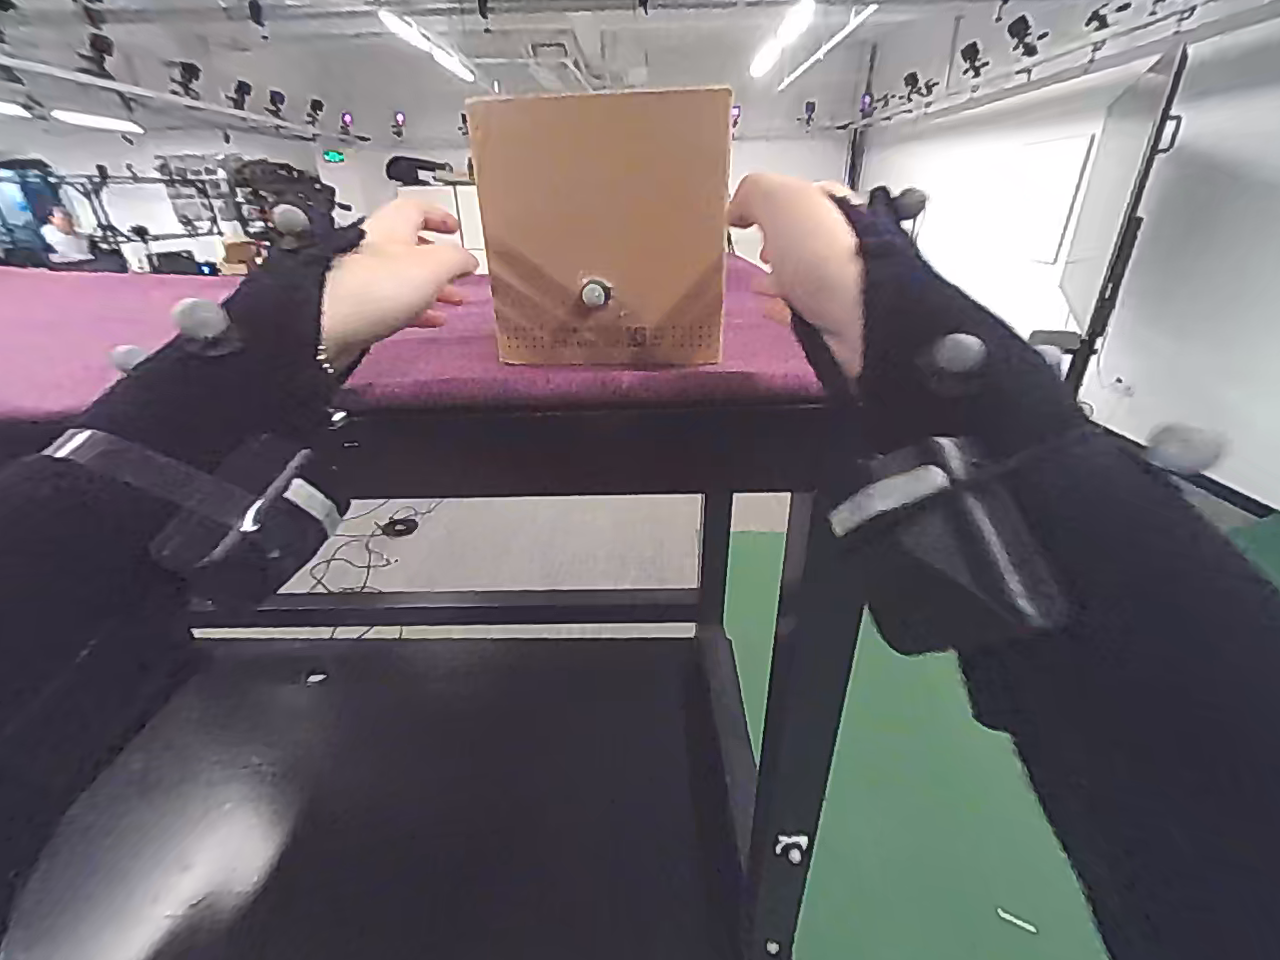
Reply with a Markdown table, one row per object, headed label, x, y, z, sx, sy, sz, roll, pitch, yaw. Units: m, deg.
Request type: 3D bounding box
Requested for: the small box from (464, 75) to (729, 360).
| label | x | y | z | sx | sy | sz | roll | pitch | yaw |
| --- | --- | --- | --- | --- | --- | --- | --- | --- | --- |
| small box | -0.018 | -0.201 | 0.432 | 0.168 | 0.176 | 0.179 | 1 | 28 | 6 |
